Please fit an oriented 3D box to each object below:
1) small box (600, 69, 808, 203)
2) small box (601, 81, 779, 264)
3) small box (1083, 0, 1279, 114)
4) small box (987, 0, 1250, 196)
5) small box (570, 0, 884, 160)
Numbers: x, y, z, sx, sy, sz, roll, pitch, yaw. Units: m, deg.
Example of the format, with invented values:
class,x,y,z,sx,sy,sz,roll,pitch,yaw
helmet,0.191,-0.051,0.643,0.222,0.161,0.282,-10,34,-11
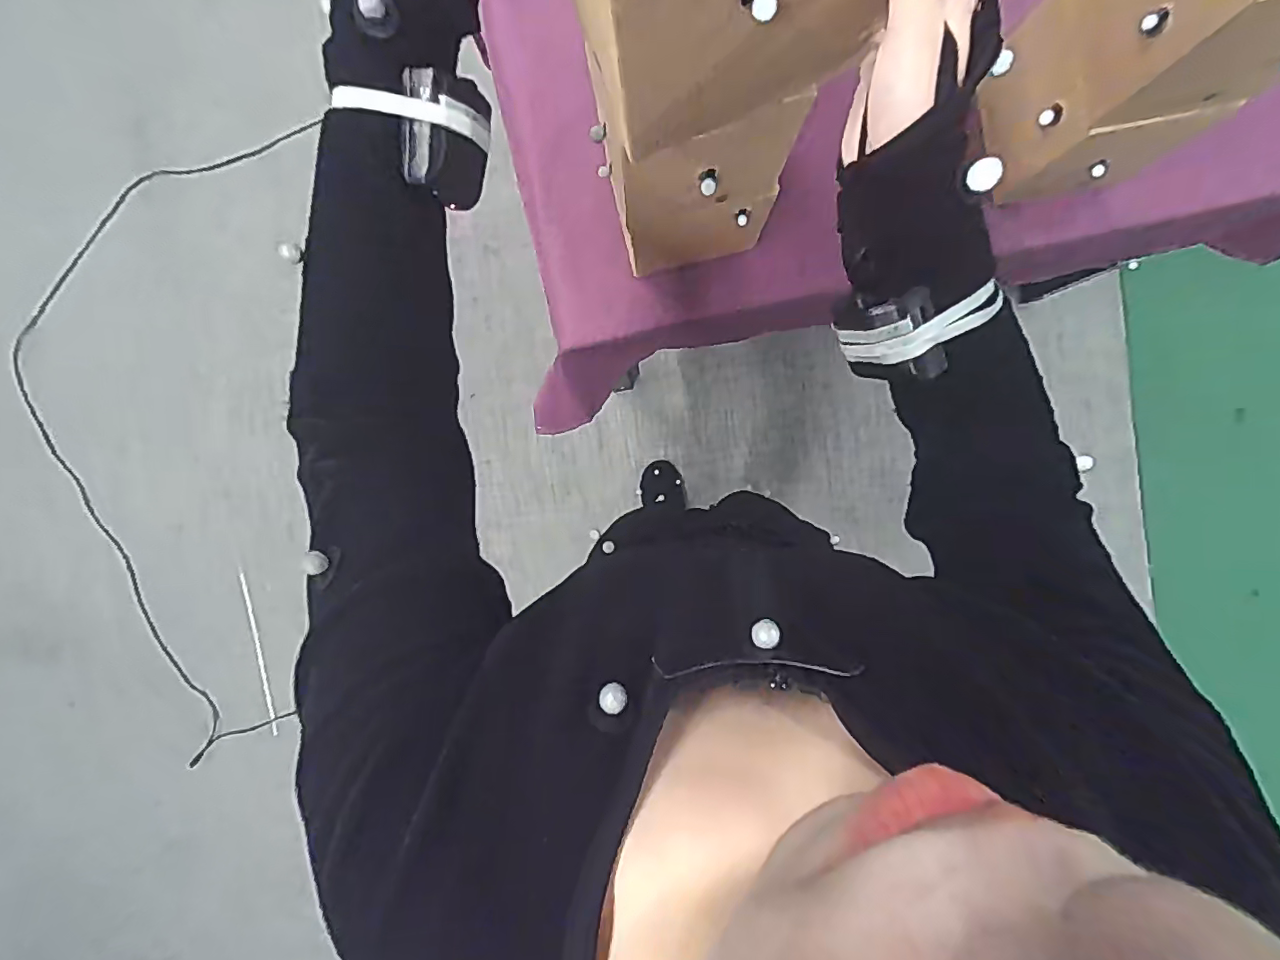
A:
class,x,y,z,sx,sy,sz,roll,pitch,yaw
small box,0.047,-0.392,0.517,0.168,0.176,0.179,-12,91,2
small box,0.060,-0.394,0.681,0.179,0.176,0.168,-11,91,2
small box,0.548,-0.468,0.490,0.168,0.176,0.179,-6,91,3
small box,0.557,-0.469,0.653,0.168,0.176,0.179,-8,91,3
small box,0.040,-0.316,0.290,0.179,0.176,0.168,-25,96,7
